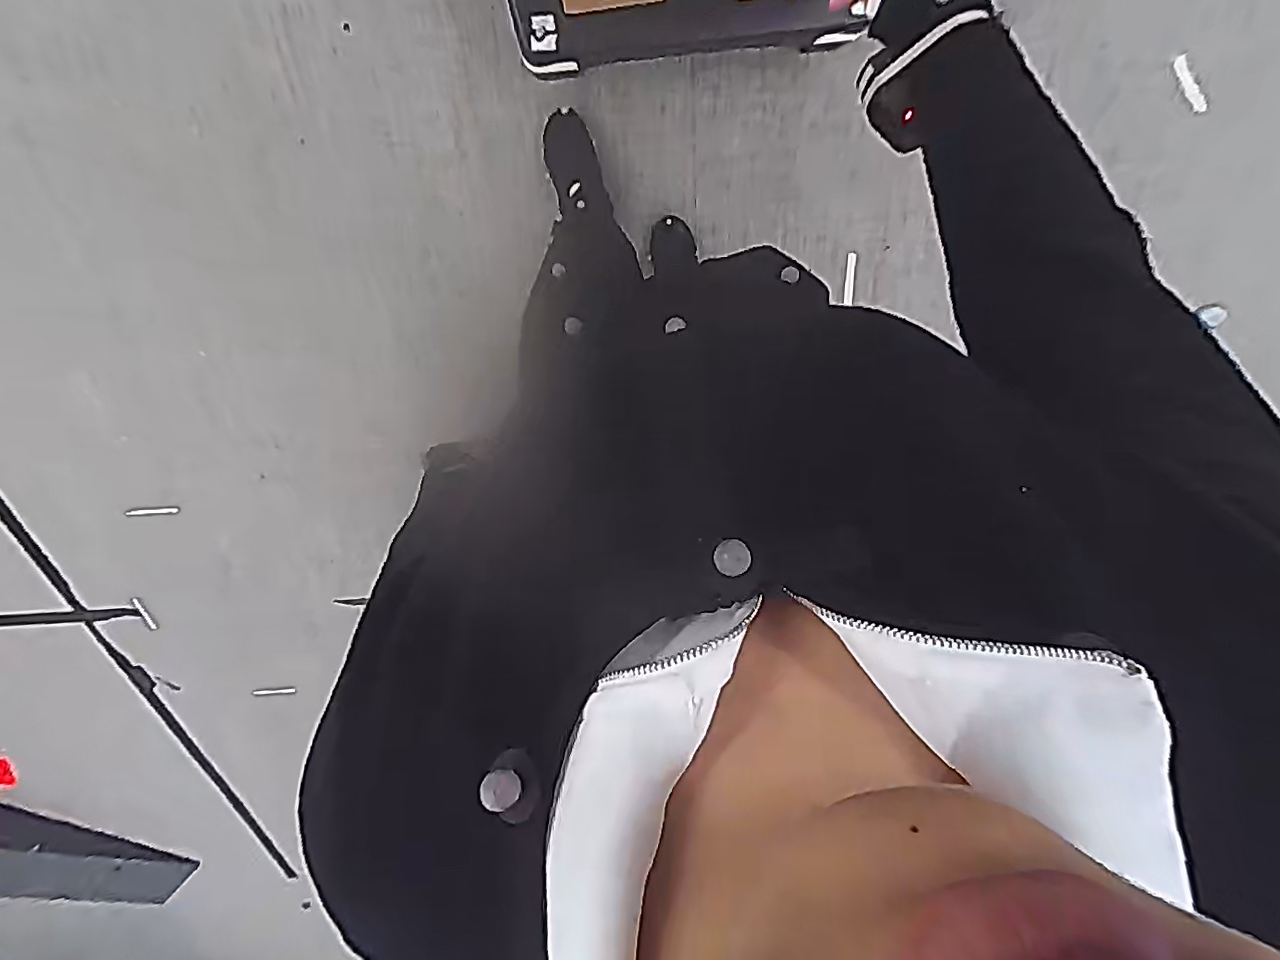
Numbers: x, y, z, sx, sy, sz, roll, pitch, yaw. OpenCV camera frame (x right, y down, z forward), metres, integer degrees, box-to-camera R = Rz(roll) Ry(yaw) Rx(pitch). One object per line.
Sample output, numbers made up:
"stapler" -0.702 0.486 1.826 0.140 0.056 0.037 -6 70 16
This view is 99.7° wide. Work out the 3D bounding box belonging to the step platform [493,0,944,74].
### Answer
"step platform" 0.114 -0.819 0.807 0.684 0.204 0.286 -6 120 0
